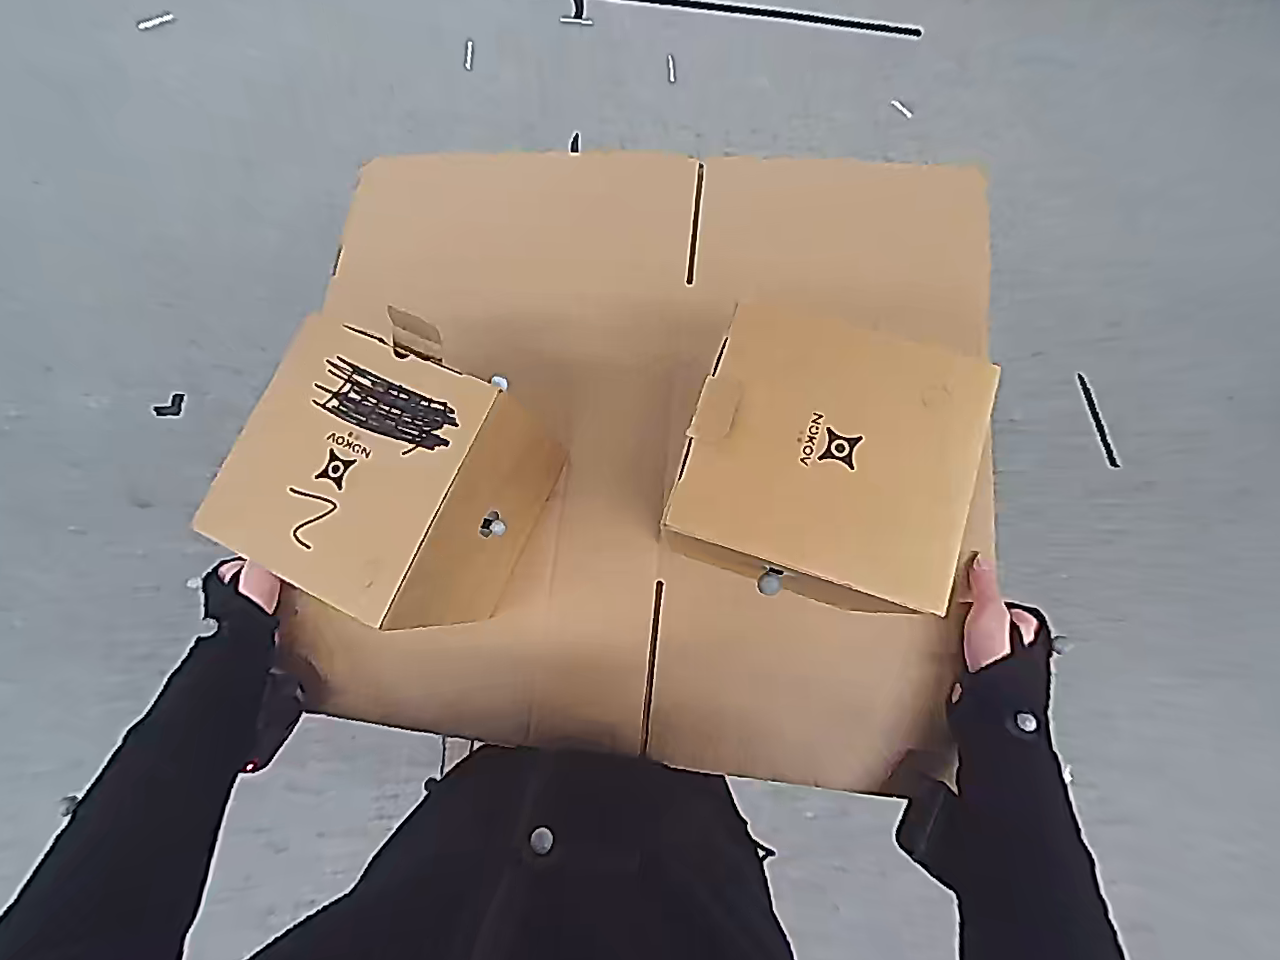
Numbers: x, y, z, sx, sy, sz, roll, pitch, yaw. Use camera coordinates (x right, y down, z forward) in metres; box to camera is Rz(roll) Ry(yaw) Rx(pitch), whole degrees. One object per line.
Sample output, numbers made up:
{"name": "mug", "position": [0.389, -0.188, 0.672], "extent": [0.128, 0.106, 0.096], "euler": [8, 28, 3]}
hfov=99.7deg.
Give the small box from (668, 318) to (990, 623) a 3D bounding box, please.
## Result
{"name": "small box", "position": [0.131, 0.003, 0.432], "extent": [0.179, 0.176, 0.168], "euler": [17, 80, 8]}
